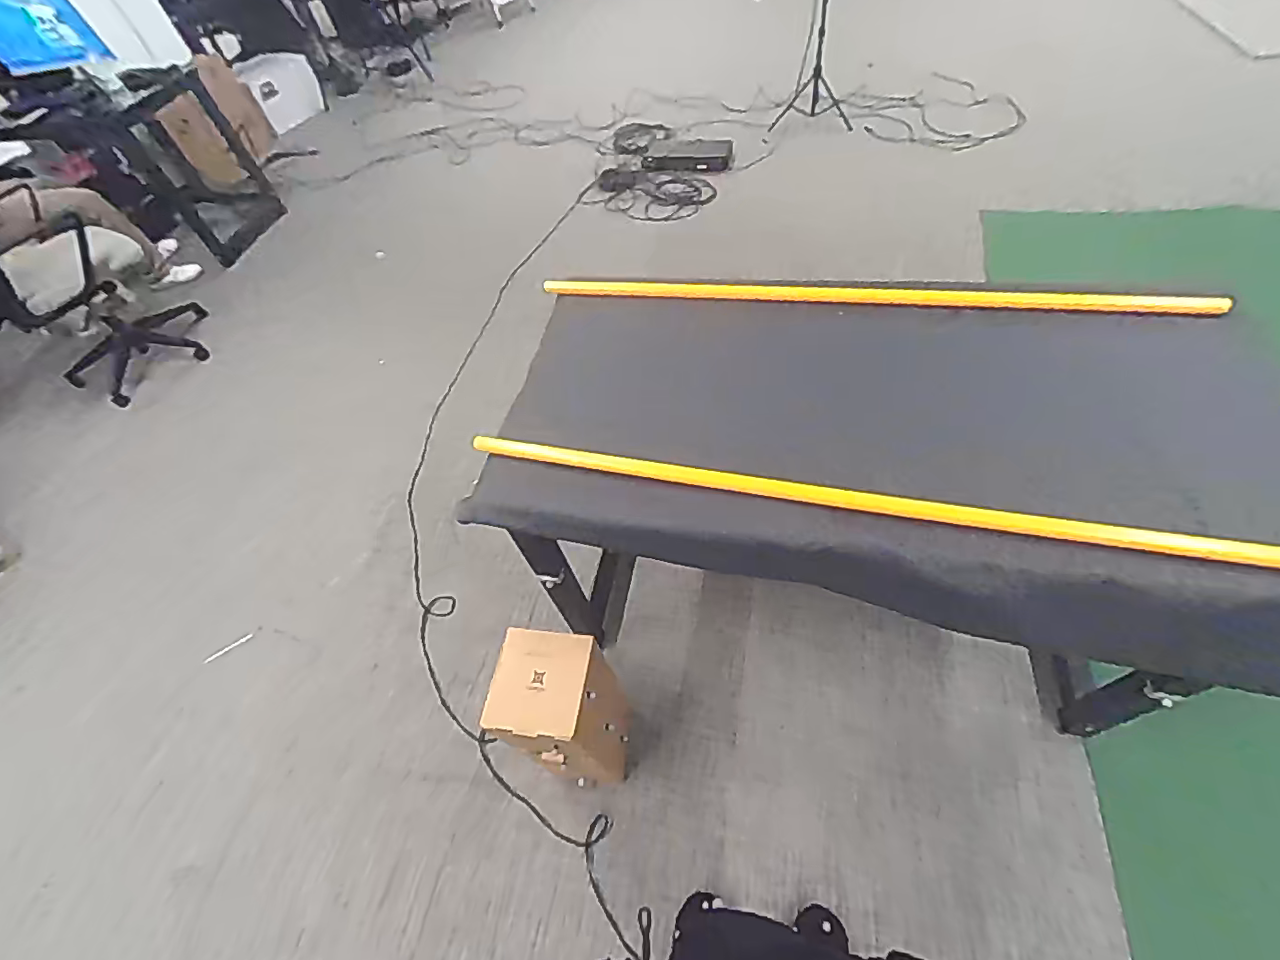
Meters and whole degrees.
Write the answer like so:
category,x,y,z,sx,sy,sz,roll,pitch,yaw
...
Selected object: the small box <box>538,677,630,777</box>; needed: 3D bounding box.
category,x,y,z,sx,sy,sz,roll,pitch,yaw
small box,-0.121,0.575,1.258,0.168,0.176,0.179,0,55,9
